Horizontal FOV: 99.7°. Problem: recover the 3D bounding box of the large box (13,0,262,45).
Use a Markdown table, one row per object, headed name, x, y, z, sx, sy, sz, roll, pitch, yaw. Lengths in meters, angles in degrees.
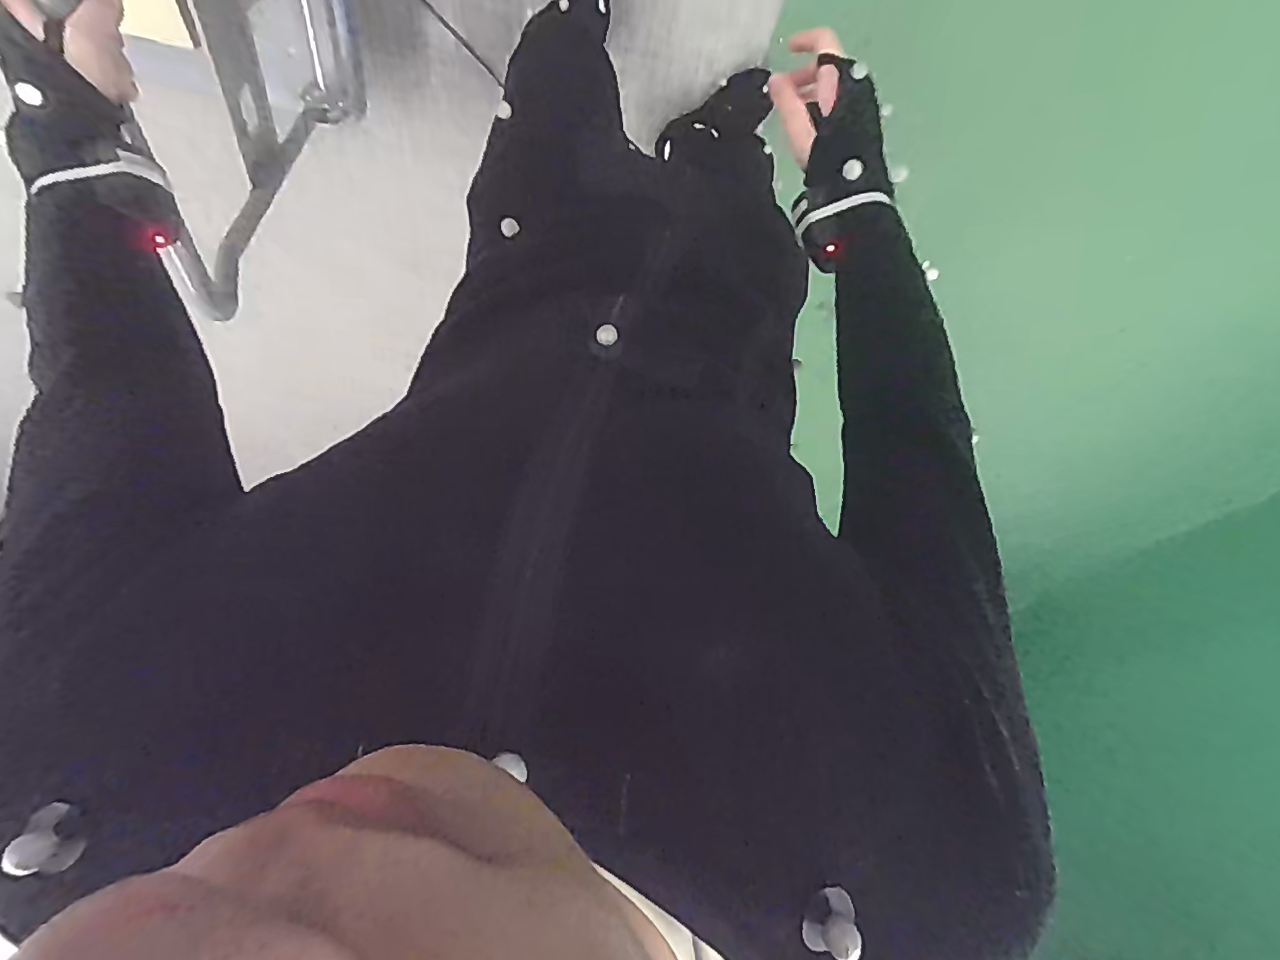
| name | x | y | z | sx | sy | sz | roll | pitch | yaw |
| --- | --- | --- | --- | --- | --- | --- | --- | --- | --- |
| large box | -0.745 | -0.824 | 0.668 | 0.408 | 0.320 | 0.320 | 8 | 144 | -11 |
